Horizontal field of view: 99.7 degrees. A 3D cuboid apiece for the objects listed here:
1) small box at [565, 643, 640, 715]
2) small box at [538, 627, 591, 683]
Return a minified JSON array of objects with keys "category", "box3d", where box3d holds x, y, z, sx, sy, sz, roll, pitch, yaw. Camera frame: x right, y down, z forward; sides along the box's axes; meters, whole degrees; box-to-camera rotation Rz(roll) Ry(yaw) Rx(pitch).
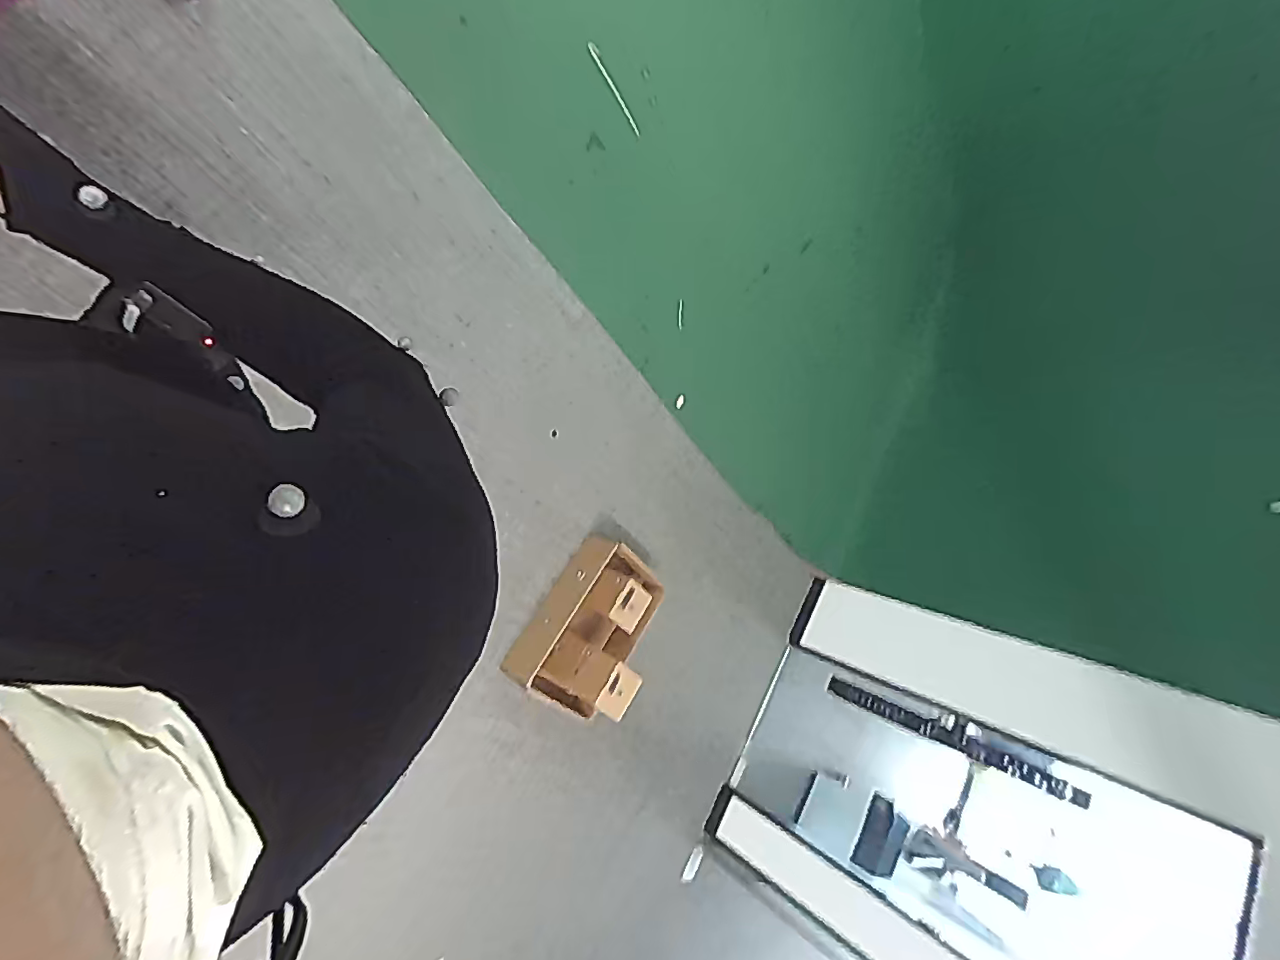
[{"category":"small box","box3d":[-0.138,0.712,1.953,0.168,0.176,0.179,-56,134,-21]},{"category":"small box","box3d":[-0.253,0.686,2.067,0.179,0.176,0.168,49,64,-39]}]
